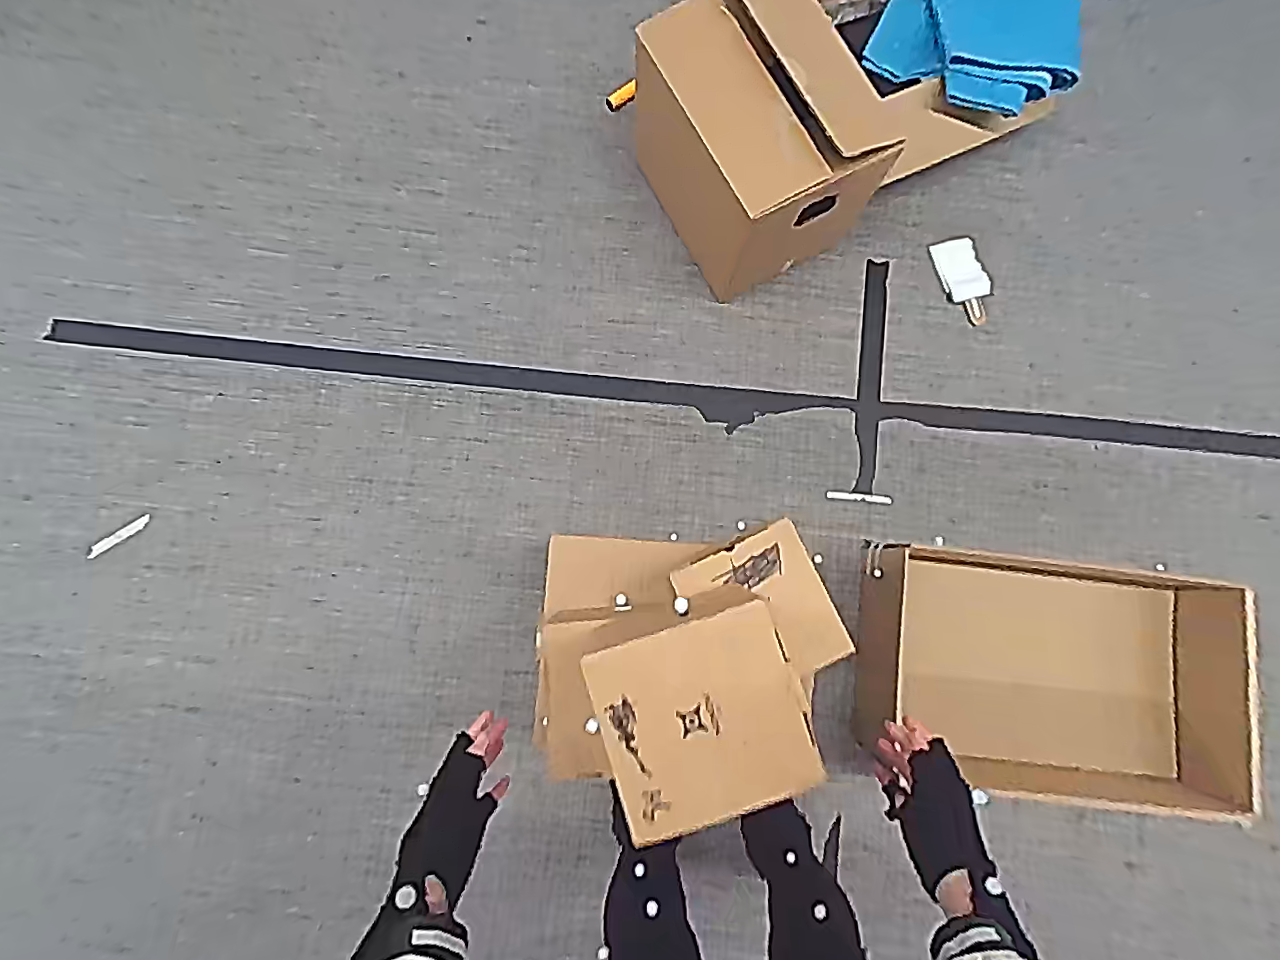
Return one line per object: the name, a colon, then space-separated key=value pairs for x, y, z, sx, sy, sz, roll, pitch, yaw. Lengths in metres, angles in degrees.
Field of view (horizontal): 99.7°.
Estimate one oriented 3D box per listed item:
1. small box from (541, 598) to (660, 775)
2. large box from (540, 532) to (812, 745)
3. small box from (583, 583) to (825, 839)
small box: x=-0.032 y=0.254 z=0.704 sx=0.168 sy=0.176 sz=0.179 roll=-5 pitch=81 yaw=-3
large box: x=0.052 y=0.258 z=0.948 sx=0.408 sy=0.320 sz=0.320 roll=3 pitch=84 yaw=-1
small box: x=0.053 y=0.209 z=0.544 sx=0.179 sy=0.176 sz=0.168 roll=-18 pitch=84 yaw=-2
